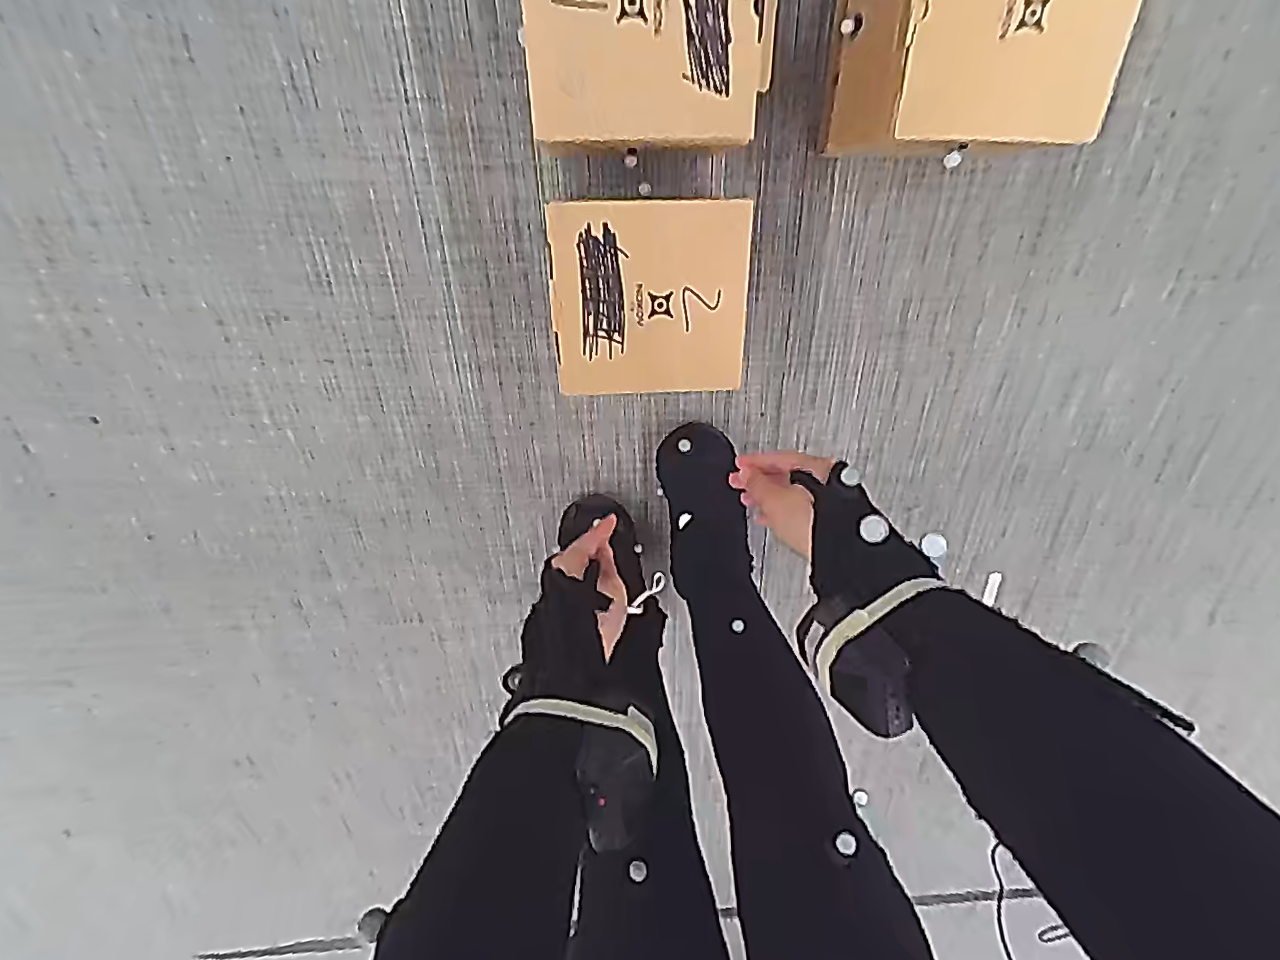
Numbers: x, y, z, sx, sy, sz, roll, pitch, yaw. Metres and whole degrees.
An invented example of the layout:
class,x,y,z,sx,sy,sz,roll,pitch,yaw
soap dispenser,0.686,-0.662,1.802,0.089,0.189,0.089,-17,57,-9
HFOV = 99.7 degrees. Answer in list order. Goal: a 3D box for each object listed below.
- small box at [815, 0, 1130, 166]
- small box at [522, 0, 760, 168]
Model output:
class,x,y,z,sx,sy,sz,roll,pitch,yaw
small box,0.280,-0.382,0.484,0.179,0.176,0.168,-1,118,-3
small box,-0.003,-0.370,0.469,0.179,0.176,0.168,-2,118,-2
